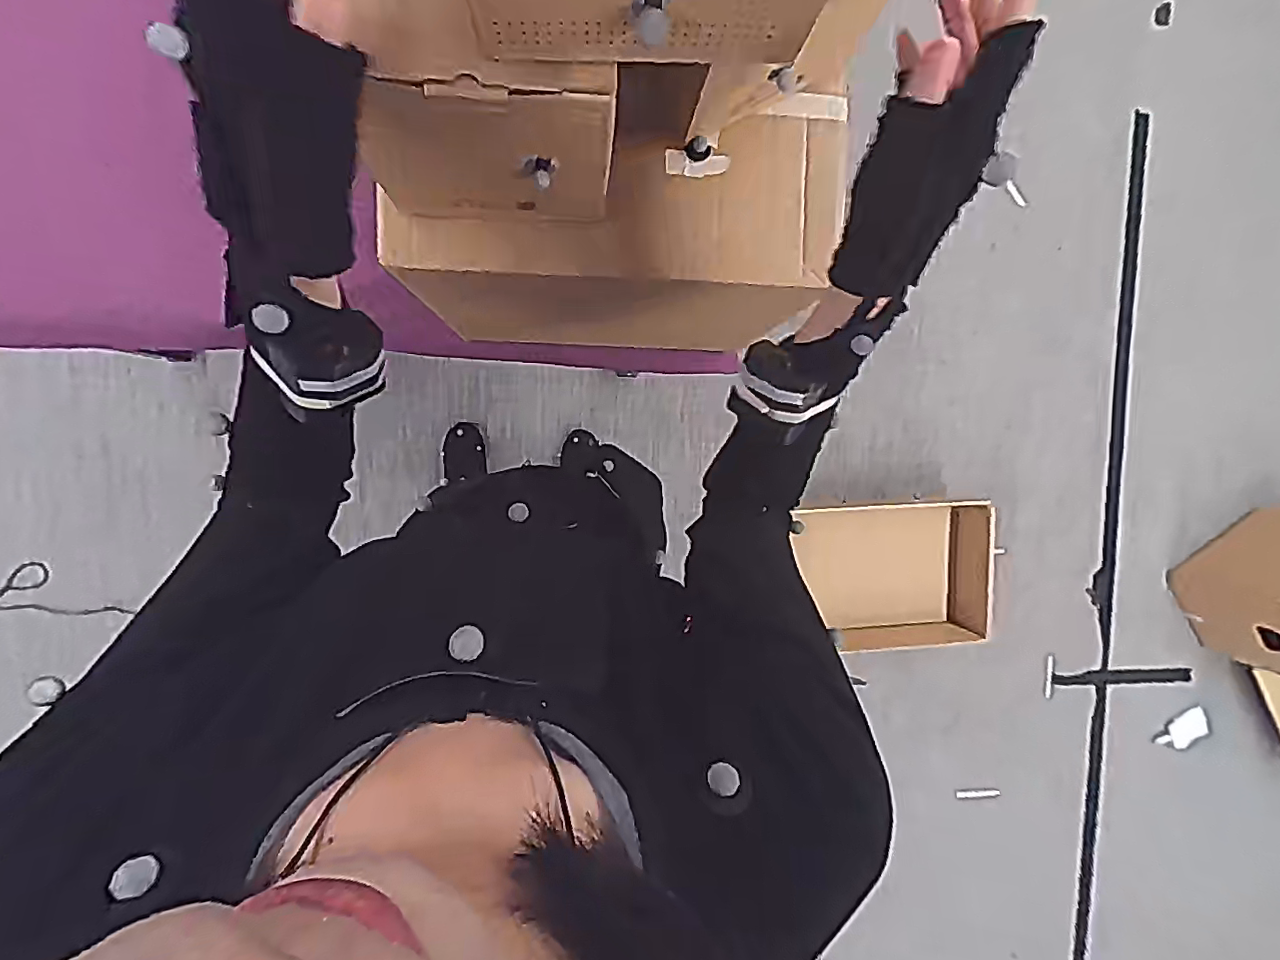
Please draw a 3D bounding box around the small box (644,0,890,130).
[{"bbox_3d":[0.079,-0.394,0.368,0.168,0.176,0.179,-28,95,-4],"label":"small box"}]

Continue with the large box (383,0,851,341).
[{"bbox_3d":[-0.029,-0.340,0.607,0.408,0.320,0.320,0,95,-7],"label":"large box"}]

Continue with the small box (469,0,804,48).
[{"bbox_3d":[0.006,-0.304,0.201,0.179,0.176,0.168,-3,94,-5],"label":"small box"}]
